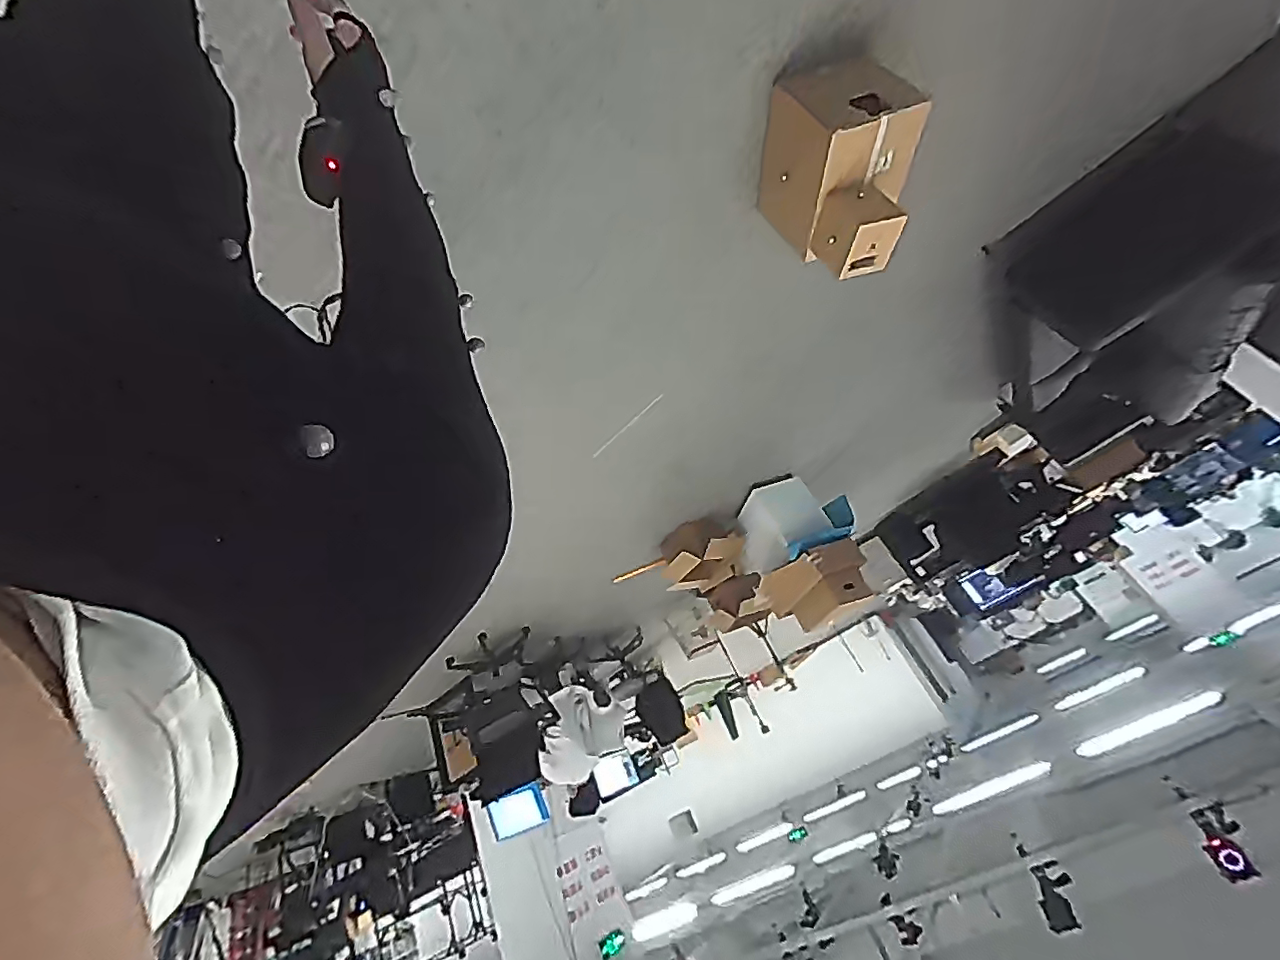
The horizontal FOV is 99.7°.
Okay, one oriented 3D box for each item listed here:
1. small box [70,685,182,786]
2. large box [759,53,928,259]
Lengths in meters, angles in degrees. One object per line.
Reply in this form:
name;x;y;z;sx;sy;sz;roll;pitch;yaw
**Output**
small box;-1.279;0.634;1.356;0.179;0.176;0.168;-38;150;23
large box;0.586;-0.976;1.651;0.320;0.320;0.408;-24;150;-8
